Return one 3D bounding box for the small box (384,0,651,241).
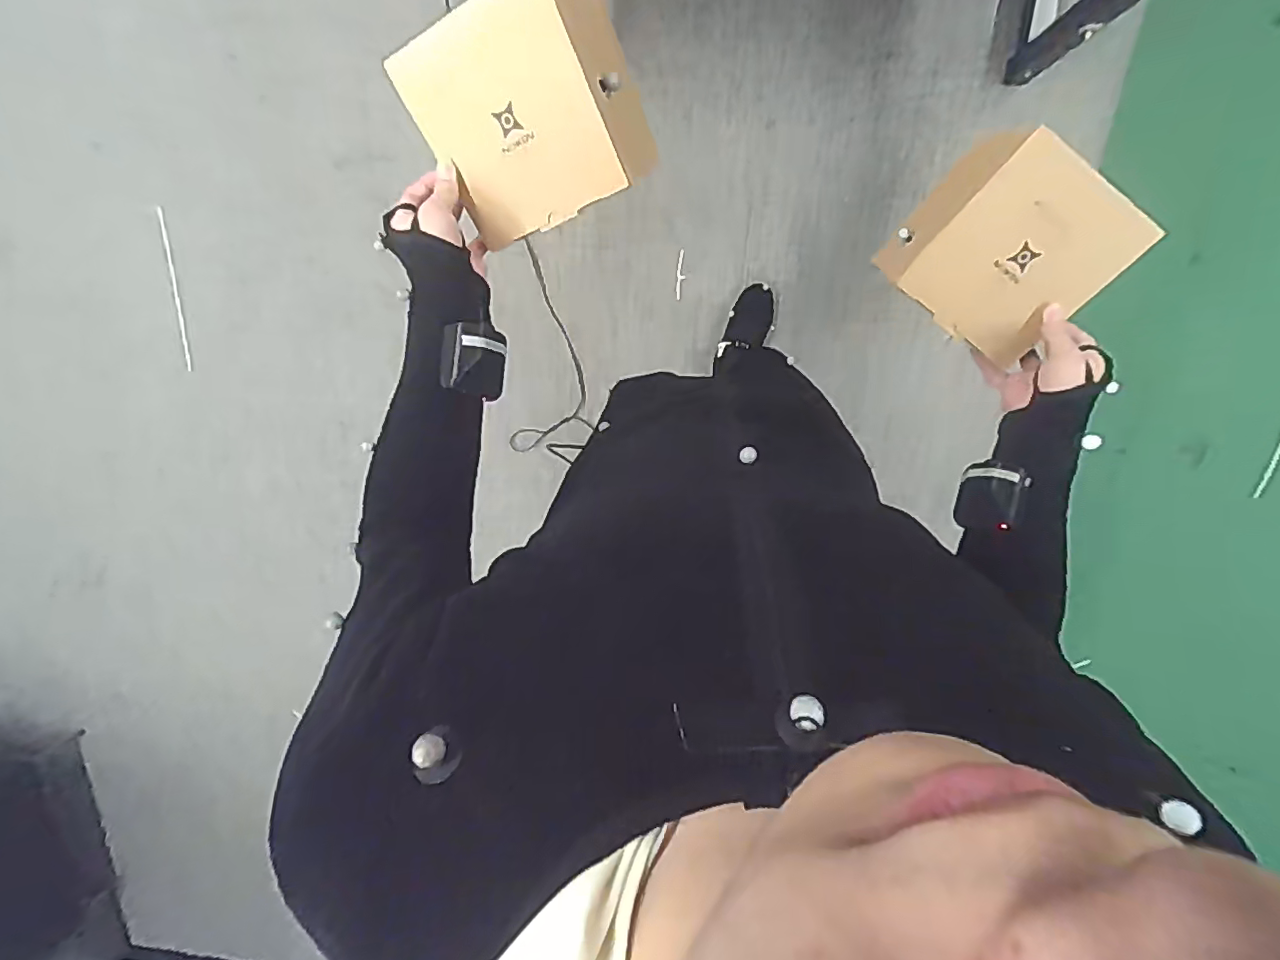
[{"bbox_3d":[-0.104,-0.377,0.543,0.168,0.176,0.179,-14,125,23],"label":"small box"}]

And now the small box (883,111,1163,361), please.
[{"bbox_3d":[0.399,-0.270,0.607,0.168,0.176,0.179,35,122,-7],"label":"small box"}]
